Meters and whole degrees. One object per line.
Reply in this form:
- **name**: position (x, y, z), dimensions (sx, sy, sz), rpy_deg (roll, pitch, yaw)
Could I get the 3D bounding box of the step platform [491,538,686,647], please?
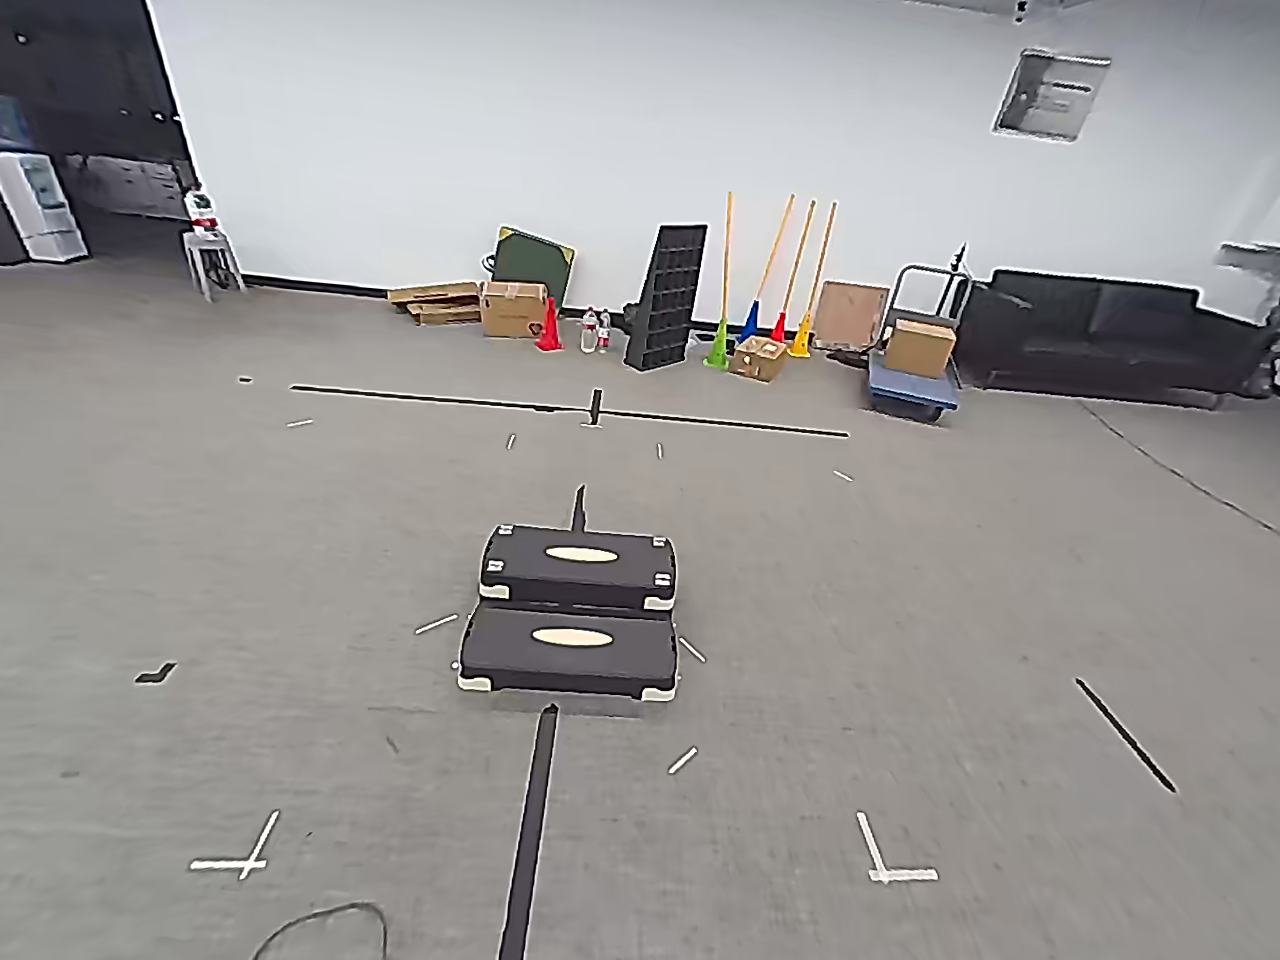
- **step platform**: position (-0.176, 0.395, 1.941), dimensions (0.684, 0.204, 0.286), rpy_deg (8, 31, 0)
